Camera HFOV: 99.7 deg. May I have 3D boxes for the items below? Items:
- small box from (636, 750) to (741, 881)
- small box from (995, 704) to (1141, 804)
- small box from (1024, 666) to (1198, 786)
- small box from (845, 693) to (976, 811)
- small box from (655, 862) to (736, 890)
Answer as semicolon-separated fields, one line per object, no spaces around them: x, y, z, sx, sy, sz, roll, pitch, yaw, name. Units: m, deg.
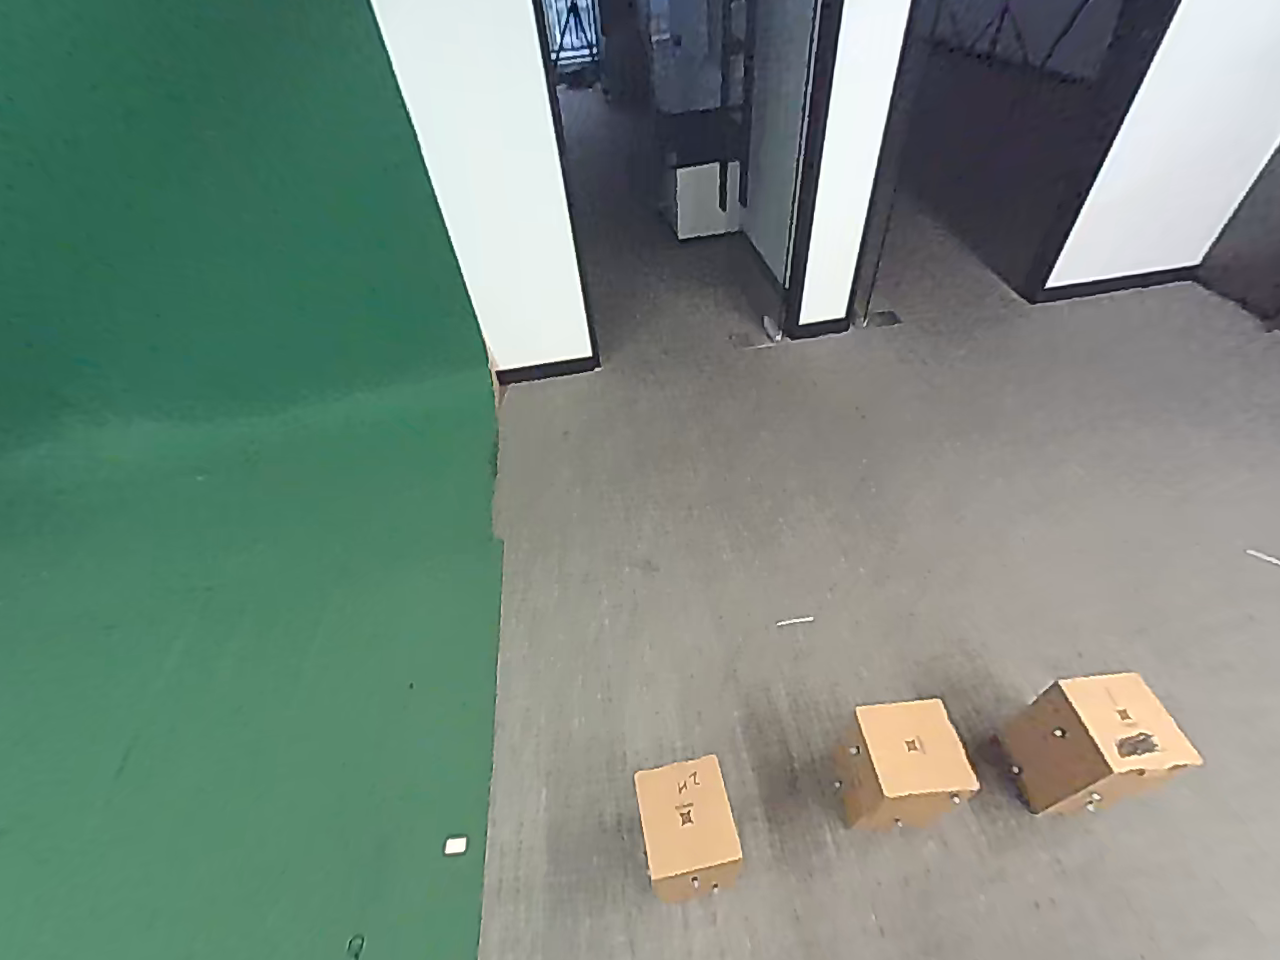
0.091;0.657;1.052;0.168;0.176;0.179;-10;46;-4;small box
0.948;0.612;1.215;0.168;0.176;0.179;-7;47;0;small box
0.933;0.502;1.093;0.168;0.176;0.179;-6;45;1;small box
0.530;0.554;1.096;0.179;0.176;0.168;-6;46;1;small box
0.107;0.767;1.173;0.168;0.176;0.179;-9;46;-3;small box
